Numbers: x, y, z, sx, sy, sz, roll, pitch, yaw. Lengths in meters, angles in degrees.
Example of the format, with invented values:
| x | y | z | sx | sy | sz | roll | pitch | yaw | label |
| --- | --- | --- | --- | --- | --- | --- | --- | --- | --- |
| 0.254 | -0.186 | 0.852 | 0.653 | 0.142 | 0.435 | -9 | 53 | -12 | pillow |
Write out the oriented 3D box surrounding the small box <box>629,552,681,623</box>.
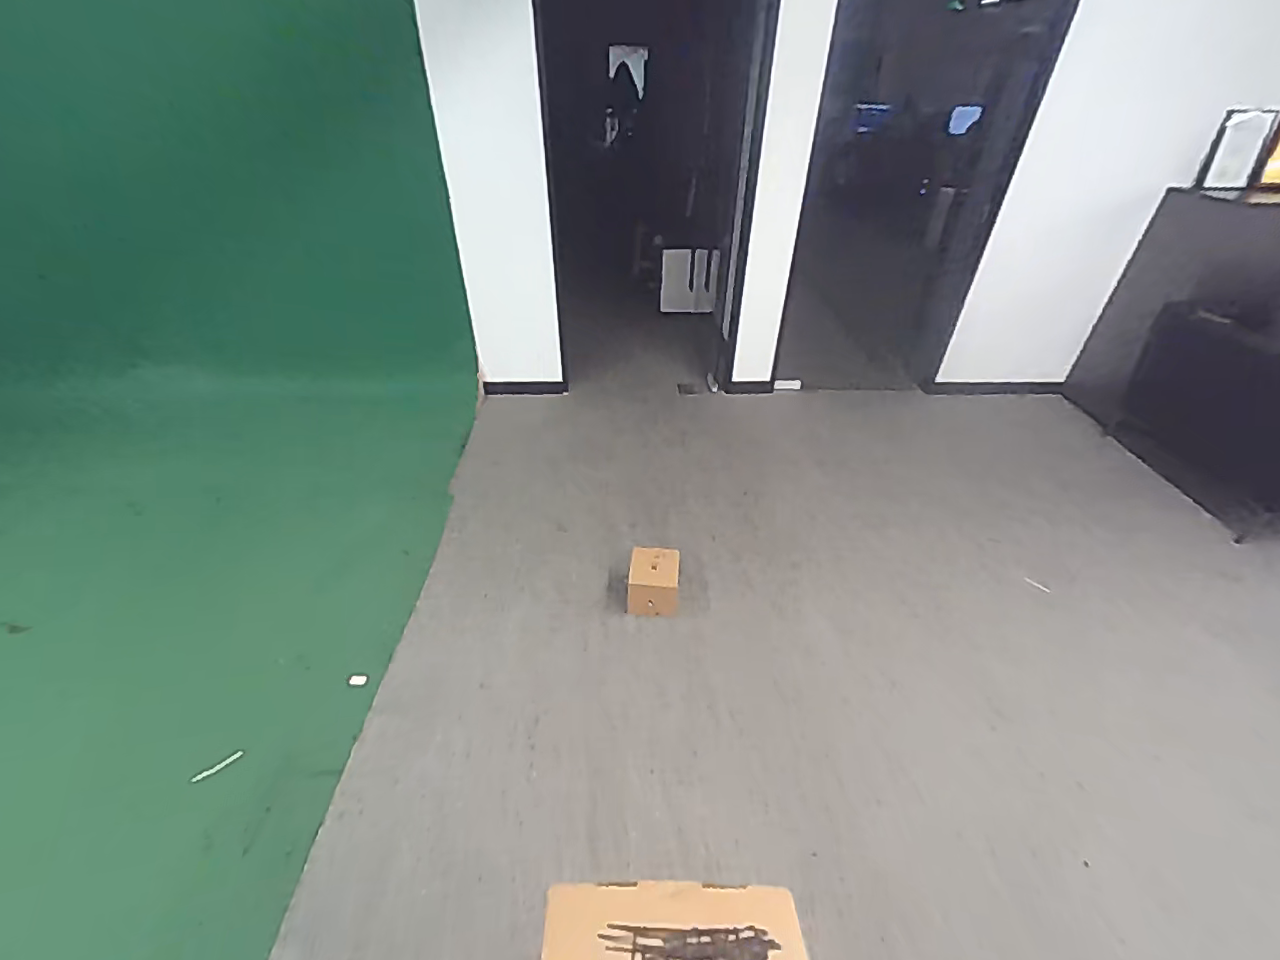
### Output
| x | y | z | sx | sy | sz | roll | pitch | yaw | label |
| --- | --- | --- | --- | --- | --- | --- | --- | --- | --- |
| 0.054 | 0.376 | 1.888 | 0.168 | 0.176 | 0.179 | 4 | 37 | 4 | small box |
